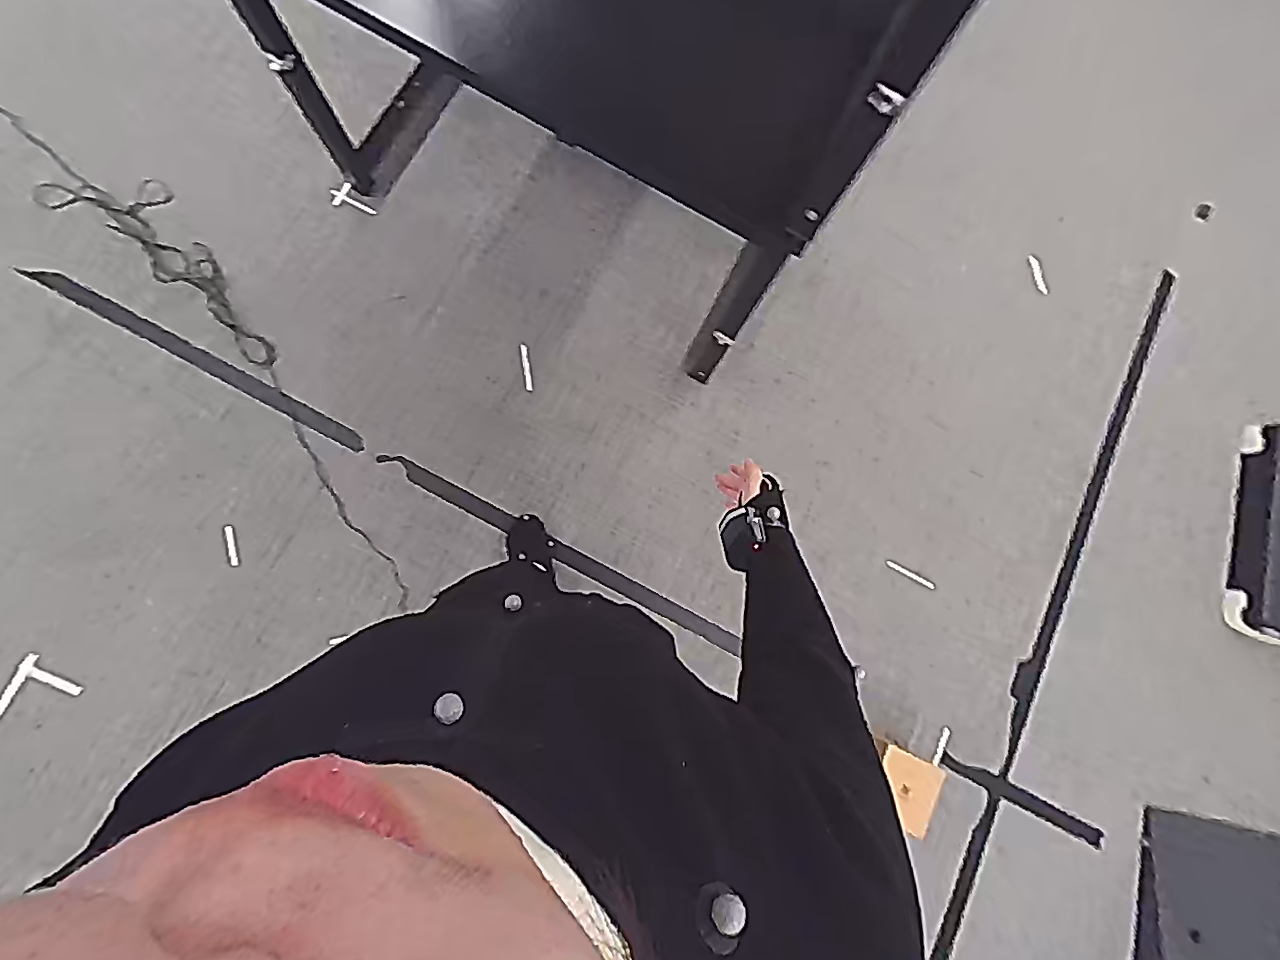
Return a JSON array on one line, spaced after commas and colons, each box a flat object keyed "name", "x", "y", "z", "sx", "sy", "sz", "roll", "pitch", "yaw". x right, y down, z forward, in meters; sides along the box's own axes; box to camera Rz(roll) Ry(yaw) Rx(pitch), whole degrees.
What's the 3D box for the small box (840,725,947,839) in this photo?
[{"name": "small box", "x": 0.649, "y": 0.776, "z": 1.409, "sx": 0.168, "sy": 0.176, "sz": 0.179, "roll": 27, "pitch": 81, "yaw": -2}]
